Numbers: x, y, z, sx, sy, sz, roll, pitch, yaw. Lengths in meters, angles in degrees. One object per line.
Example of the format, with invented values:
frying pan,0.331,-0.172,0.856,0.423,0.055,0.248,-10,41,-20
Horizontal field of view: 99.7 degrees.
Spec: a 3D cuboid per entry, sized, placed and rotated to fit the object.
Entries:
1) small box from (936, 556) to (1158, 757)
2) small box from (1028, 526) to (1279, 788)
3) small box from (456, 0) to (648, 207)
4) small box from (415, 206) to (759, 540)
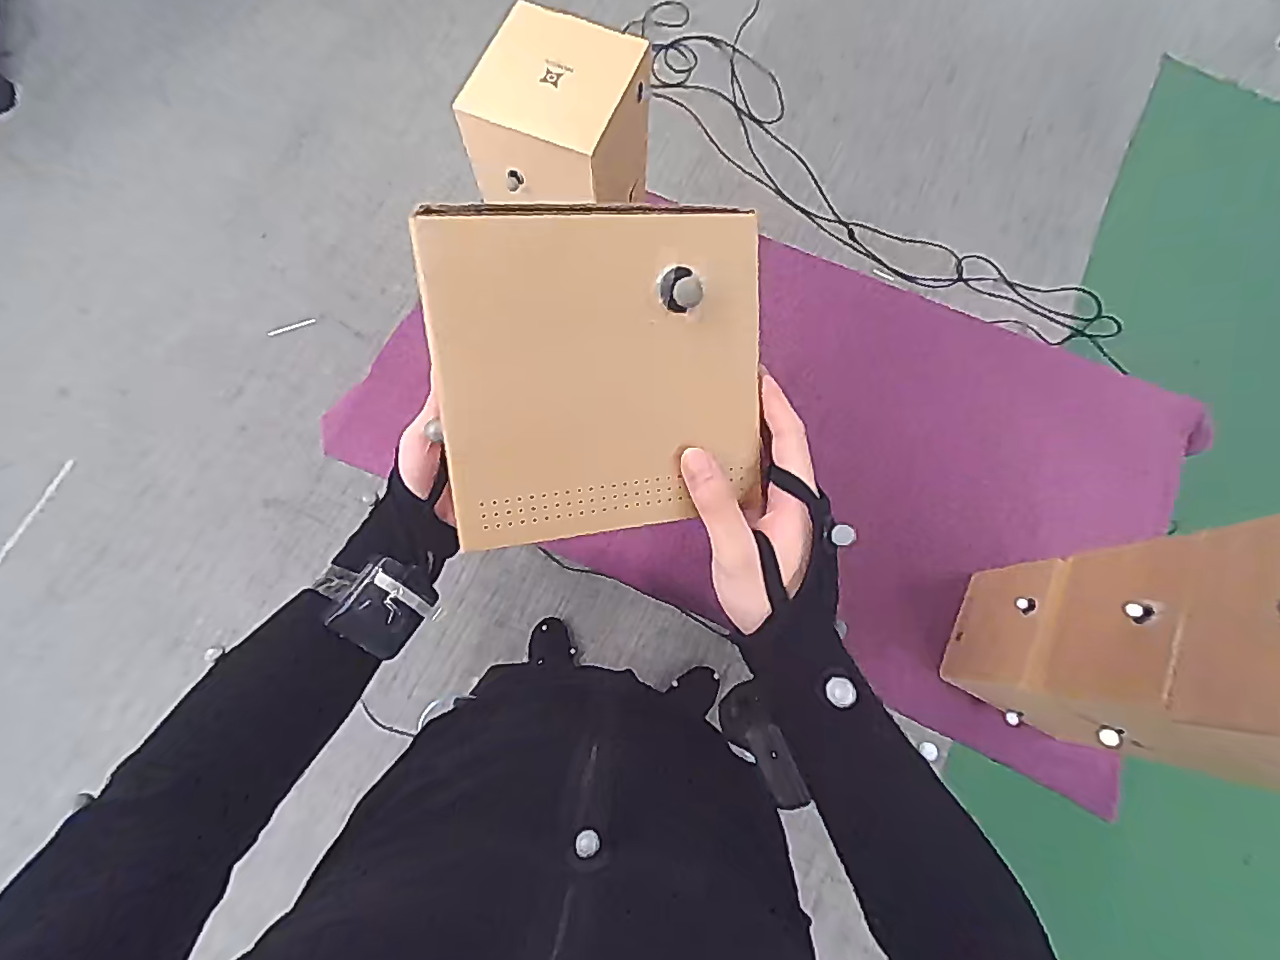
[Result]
small box,0.528,0.216,0.694,0.179,0.176,0.168,28,75,6
small box,0.536,0.171,0.537,0.168,0.176,0.179,27,76,7
small box,-0.096,-0.430,0.675,0.168,0.176,0.179,21,76,4
small box,-0.035,-0.072,0.362,0.179,0.168,0.176,-8,105,-14
